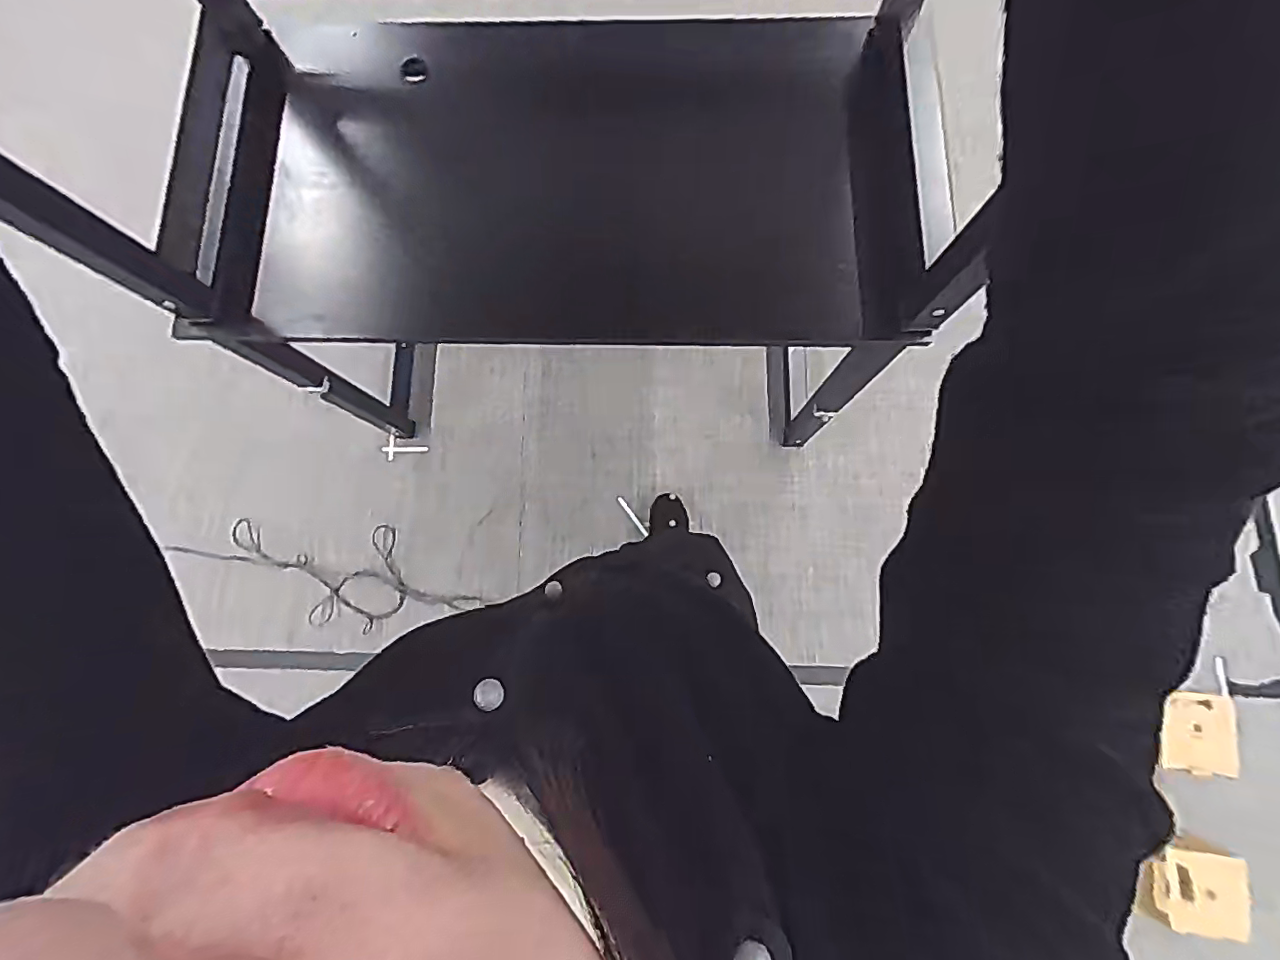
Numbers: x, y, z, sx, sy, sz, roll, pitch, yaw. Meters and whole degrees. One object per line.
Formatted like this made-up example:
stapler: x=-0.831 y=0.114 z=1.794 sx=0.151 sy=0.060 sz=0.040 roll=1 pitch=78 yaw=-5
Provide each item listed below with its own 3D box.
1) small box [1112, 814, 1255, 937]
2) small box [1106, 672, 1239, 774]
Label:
small box: x=1.248 y=0.907 z=1.258 sx=0.179 sy=0.176 sz=0.168 roll=6 pitch=81 yaw=2
small box: x=1.280 y=0.580 z=1.312 sx=0.168 sy=0.176 sz=0.179 roll=6 pitch=81 yaw=3
